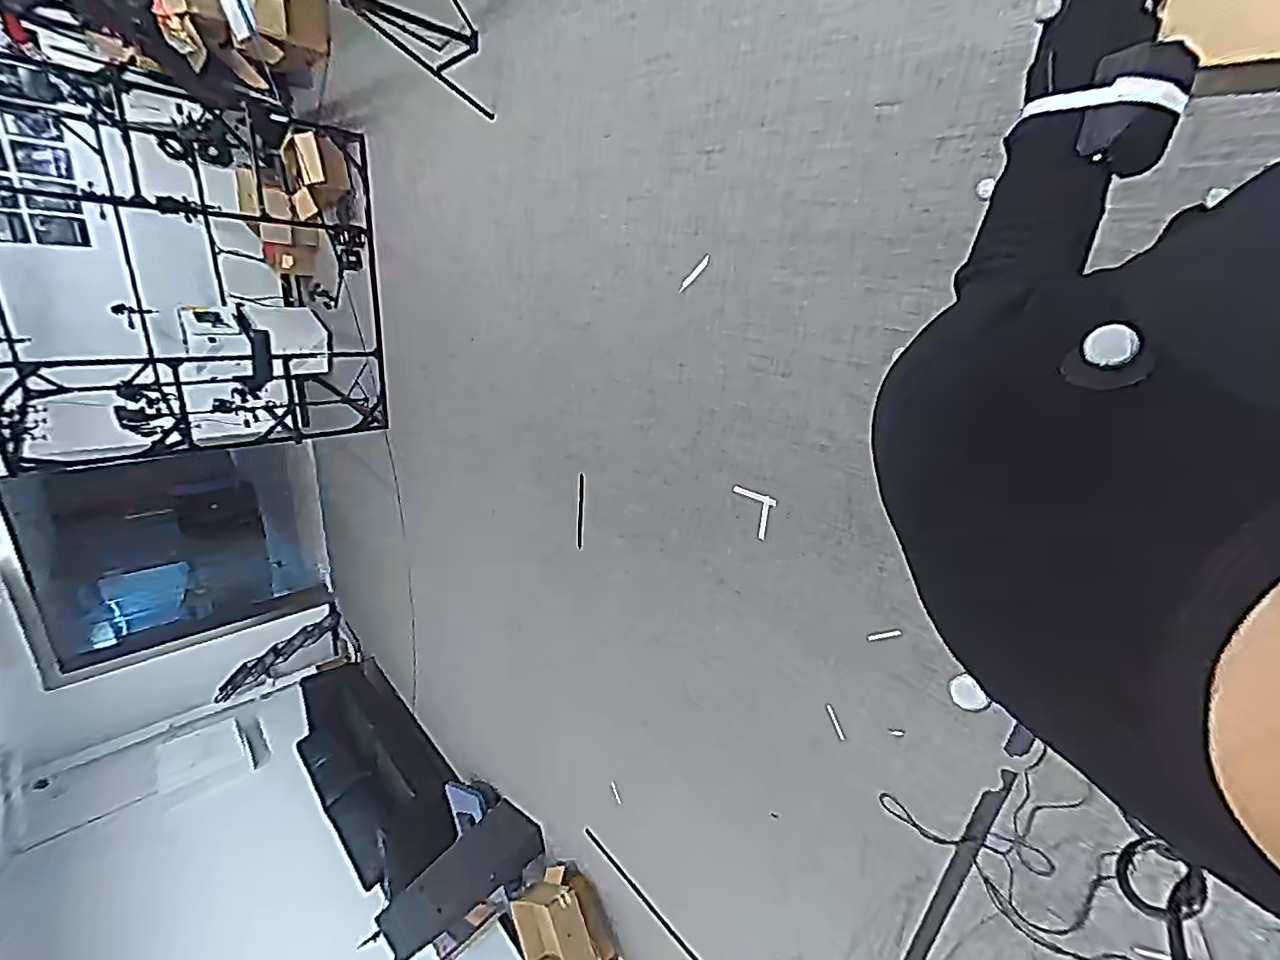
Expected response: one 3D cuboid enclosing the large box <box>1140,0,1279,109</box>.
[{"bbox_3d":[0.593,-0.417,0.291,0.408,0.320,0.320,22,128,37],"label":"large box"}]
